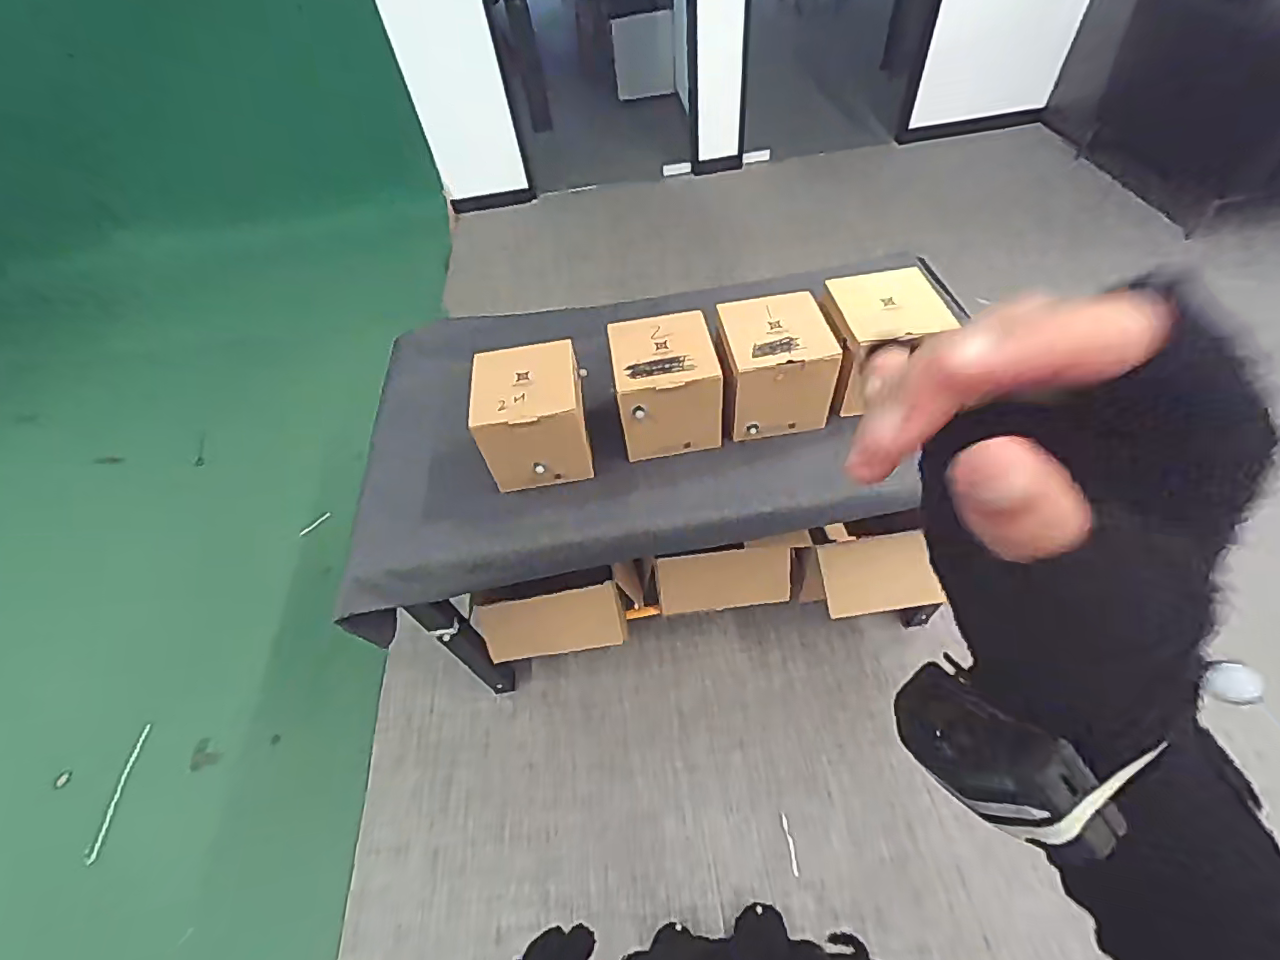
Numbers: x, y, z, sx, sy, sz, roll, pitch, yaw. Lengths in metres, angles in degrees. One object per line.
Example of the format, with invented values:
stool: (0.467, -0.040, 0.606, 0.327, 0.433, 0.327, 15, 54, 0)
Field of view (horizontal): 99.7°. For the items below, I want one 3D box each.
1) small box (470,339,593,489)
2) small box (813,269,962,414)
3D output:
small box: (-0.176, -0.110, 0.918, 0.168, 0.176, 0.179, -9, 52, 0)
small box: (0.419, -0.241, 0.953, 0.168, 0.176, 0.179, -8, 53, 0)
